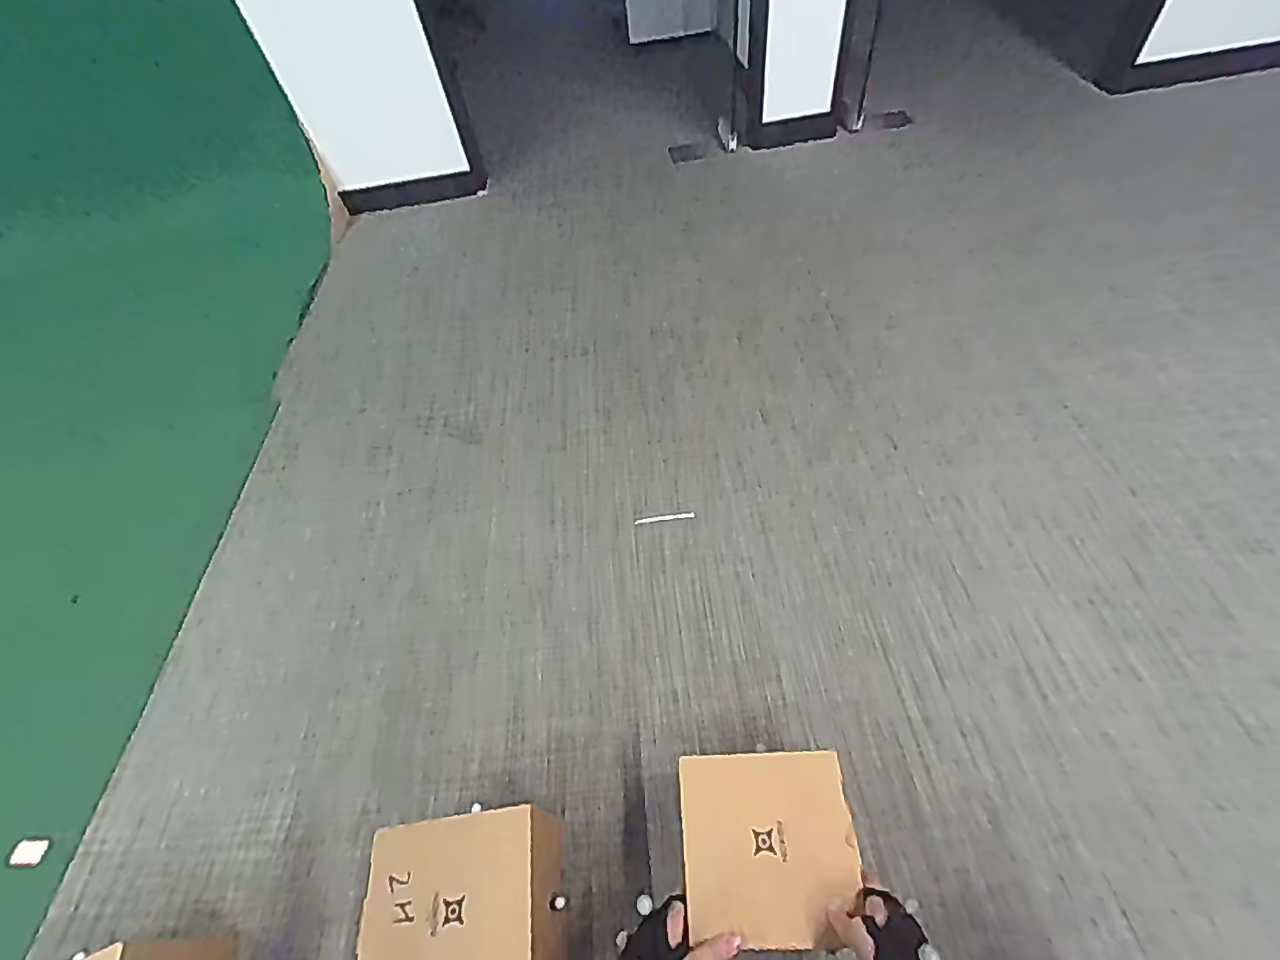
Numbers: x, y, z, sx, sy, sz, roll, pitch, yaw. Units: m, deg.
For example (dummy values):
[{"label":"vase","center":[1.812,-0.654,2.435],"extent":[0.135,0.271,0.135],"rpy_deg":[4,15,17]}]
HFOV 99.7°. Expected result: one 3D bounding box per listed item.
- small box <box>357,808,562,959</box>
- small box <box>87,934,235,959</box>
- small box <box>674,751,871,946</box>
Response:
[{"label":"small box","center":[-0.185,0.480,0.604],"extent":[0.179,0.176,0.168],"rpy_deg":[-9,51,1]},{"label":"small box","center":[-0.558,0.612,0.558],"extent":[0.168,0.176,0.179],"rpy_deg":[-22,53,-9]},{"label":"small box","center":[0.134,0.416,0.611],"extent":[0.179,0.176,0.168],"rpy_deg":[-4,52,4]}]
